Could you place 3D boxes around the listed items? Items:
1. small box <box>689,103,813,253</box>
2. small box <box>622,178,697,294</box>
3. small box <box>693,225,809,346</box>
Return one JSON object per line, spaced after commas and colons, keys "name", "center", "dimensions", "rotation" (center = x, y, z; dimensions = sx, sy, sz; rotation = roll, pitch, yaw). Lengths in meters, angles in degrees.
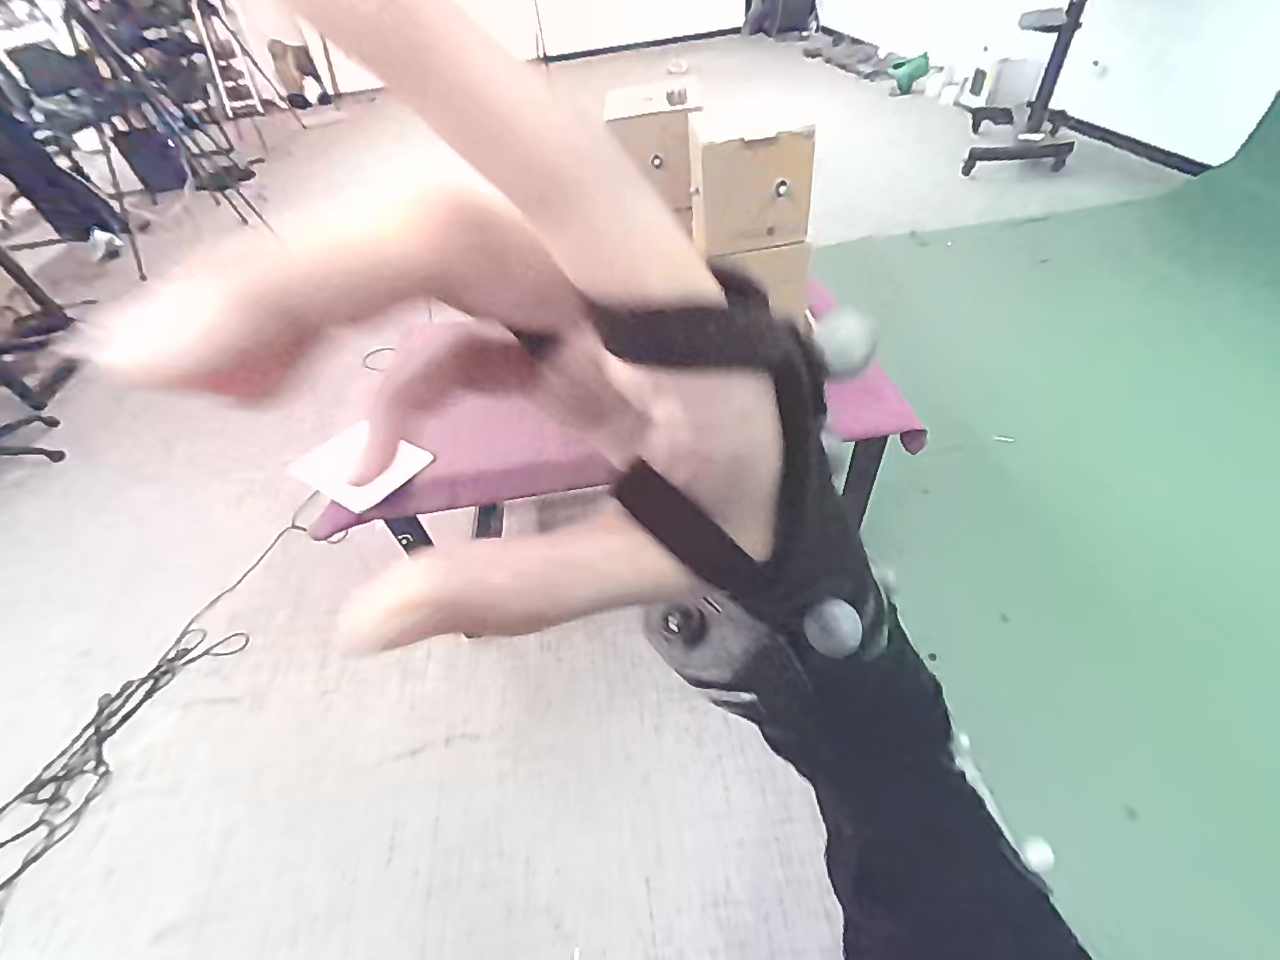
{"name": "small box", "center": [0.175, -0.485, 0.884], "dimensions": [0.168, 0.176, 0.179], "rotation": [-7, 45, 3]}
{"name": "small box", "center": [0.061, -0.526, 1.172], "dimensions": [0.179, 0.176, 0.168], "rotation": [-4, 49, 6]}
{"name": "small box", "center": [0.198, -0.369, 0.997], "dimensions": [0.179, 0.176, 0.168], "rotation": [-8, 46, 4]}
